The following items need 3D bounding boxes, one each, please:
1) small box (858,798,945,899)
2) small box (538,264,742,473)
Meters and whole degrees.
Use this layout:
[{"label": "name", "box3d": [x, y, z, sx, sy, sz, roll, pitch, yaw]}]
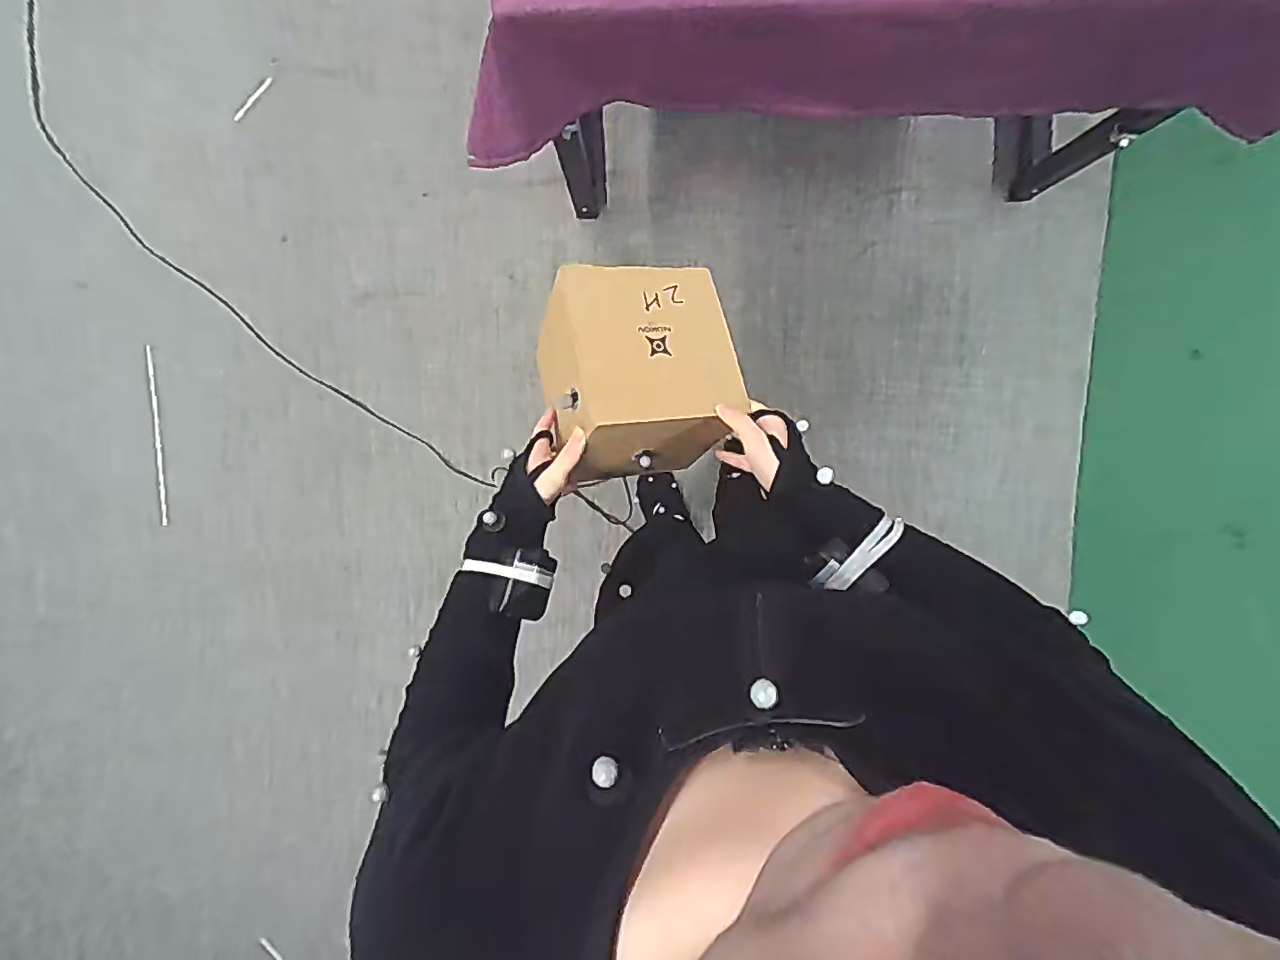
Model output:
[{"label": "small box", "box3d": [0.716, 1.011, 1.496, 0.168, 0.176, 0.179, 0, 96, 1]}, {"label": "small box", "box3d": [-0.013, -0.113, 0.609, 0.168, 0.176, 0.179, -6, 73, -22]}]
